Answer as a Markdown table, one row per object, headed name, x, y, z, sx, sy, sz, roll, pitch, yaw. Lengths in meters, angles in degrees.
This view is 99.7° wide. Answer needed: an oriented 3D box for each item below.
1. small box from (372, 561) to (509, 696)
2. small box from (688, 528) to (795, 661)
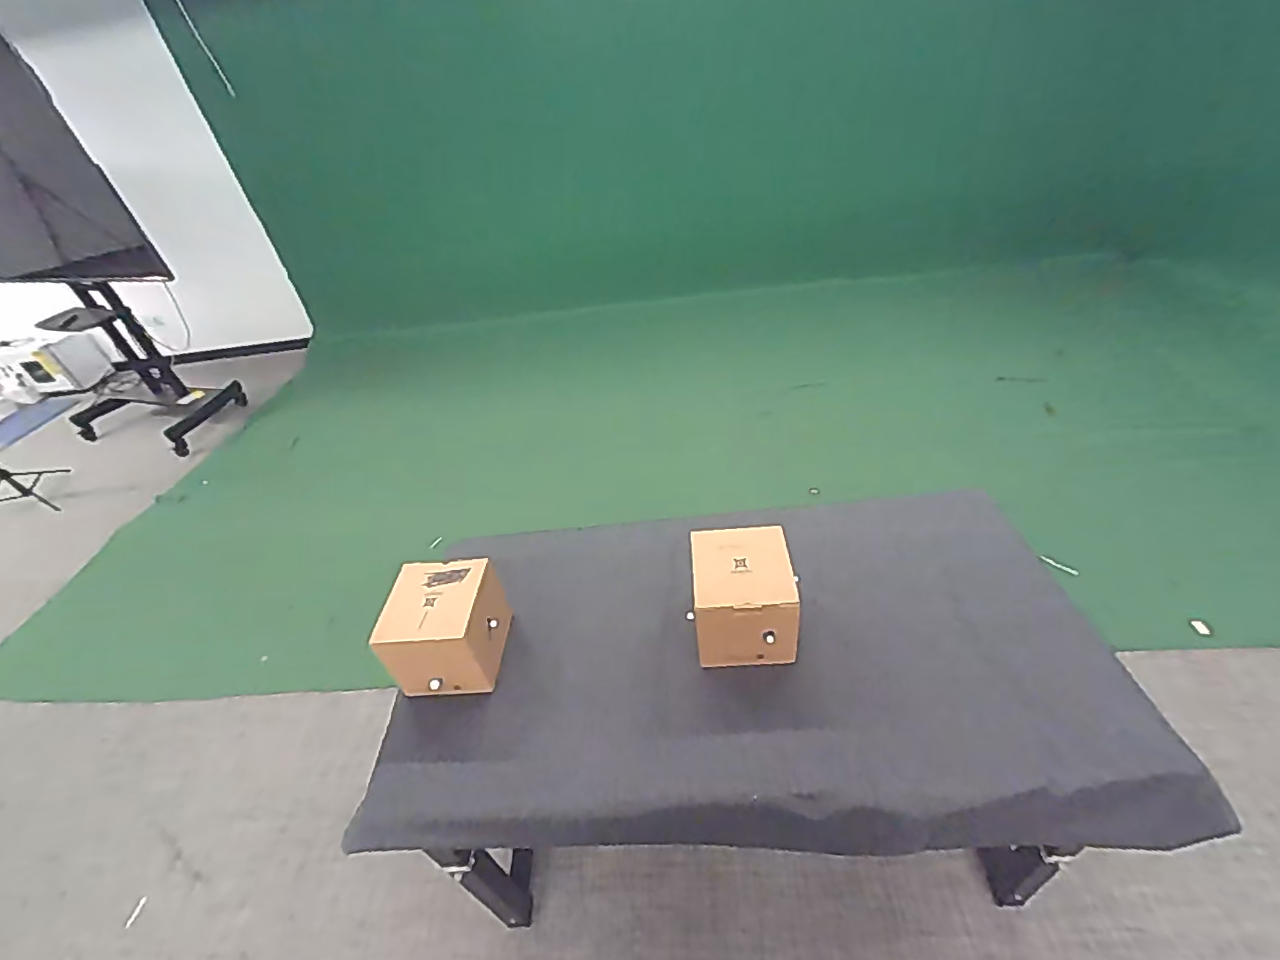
| name | x | y | z | sx | sy | sz | roll | pitch | yaw |
| --- | --- | --- | --- | --- | --- | --- | --- | --- | --- |
| small box | -0.350 | 0.272 | 0.993 | 0.168 | 0.176 | 0.179 | -5 | 40 | 5 |
| small box | 0.177 | 0.210 | 0.970 | 0.168 | 0.176 | 0.179 | -4 | 38 | 4 |
